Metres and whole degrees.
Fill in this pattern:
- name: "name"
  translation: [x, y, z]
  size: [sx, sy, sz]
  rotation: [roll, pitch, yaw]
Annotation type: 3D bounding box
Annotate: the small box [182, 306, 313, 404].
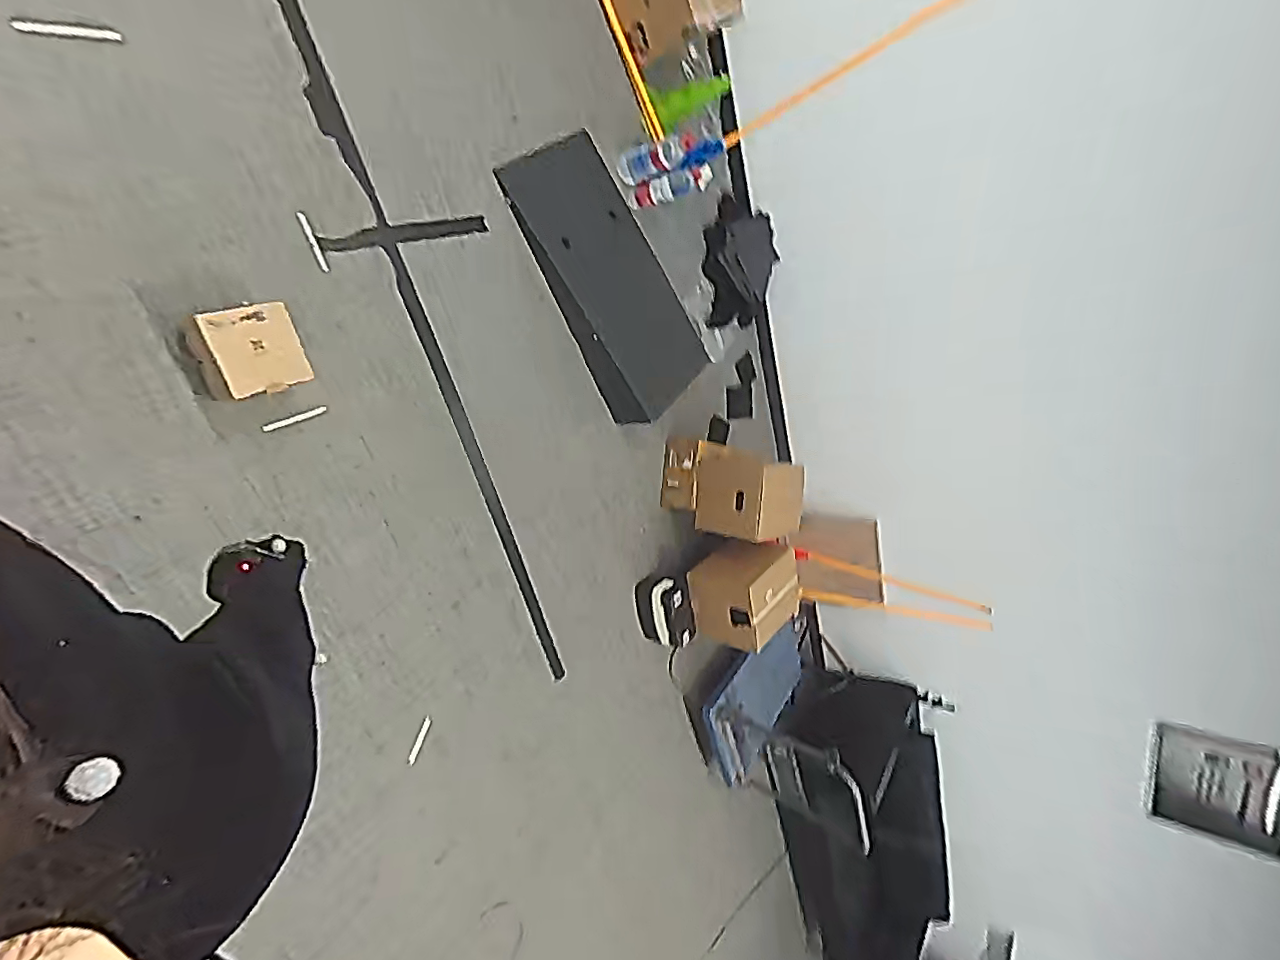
- name: "small box"
  translation: [-0.866, -0.275, 1.195]
  size: [0.168, 0.176, 0.179]
  rotation: [-32, 118, -43]
